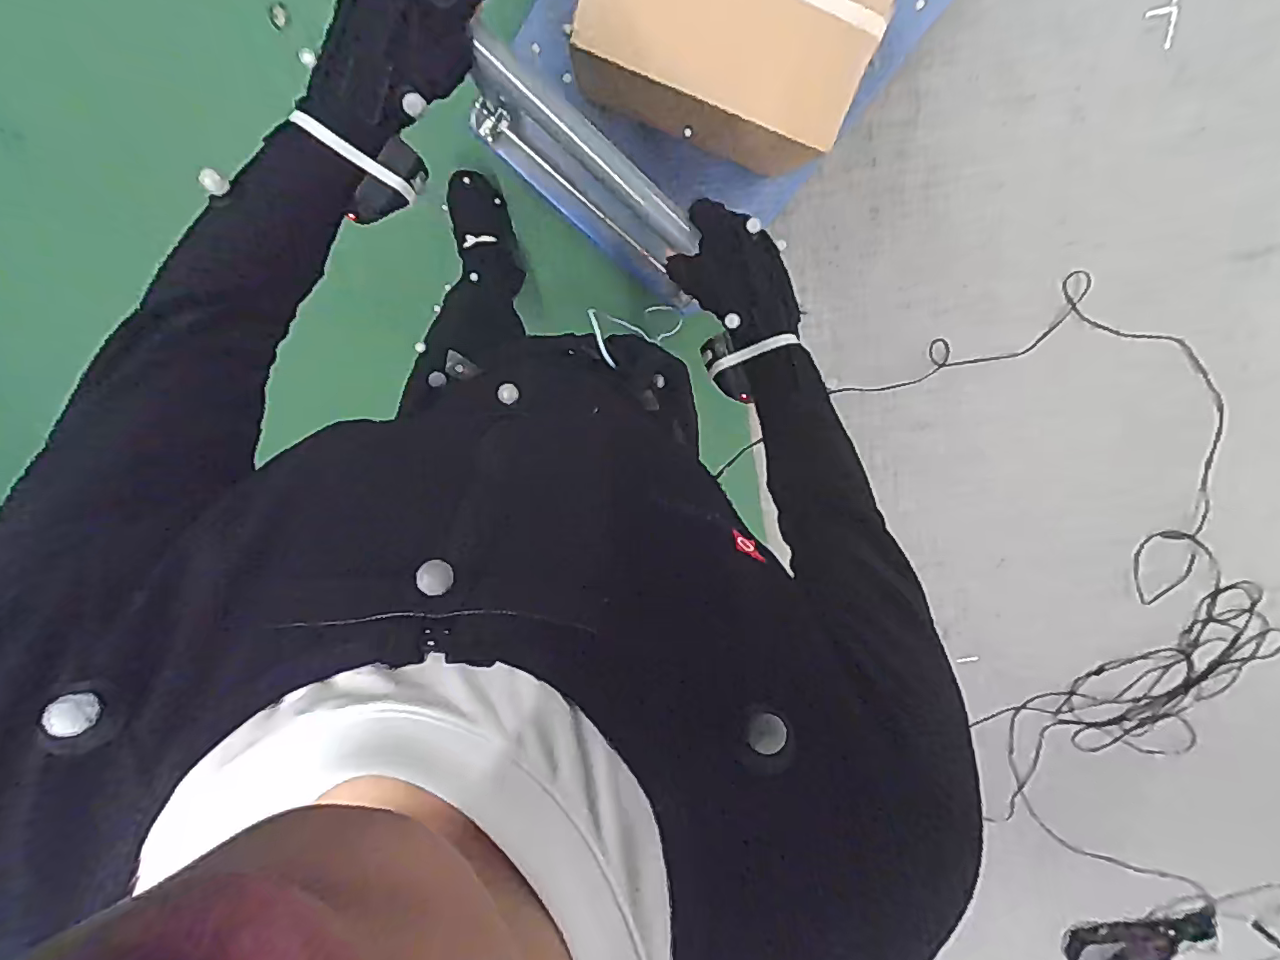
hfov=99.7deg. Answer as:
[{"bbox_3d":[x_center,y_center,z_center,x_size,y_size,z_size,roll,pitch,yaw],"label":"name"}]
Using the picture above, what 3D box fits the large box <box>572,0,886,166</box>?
[{"bbox_3d":[0.139,-0.744,0.854,0.408,0.320,0.320,17,111,-8],"label":"large box"}]
